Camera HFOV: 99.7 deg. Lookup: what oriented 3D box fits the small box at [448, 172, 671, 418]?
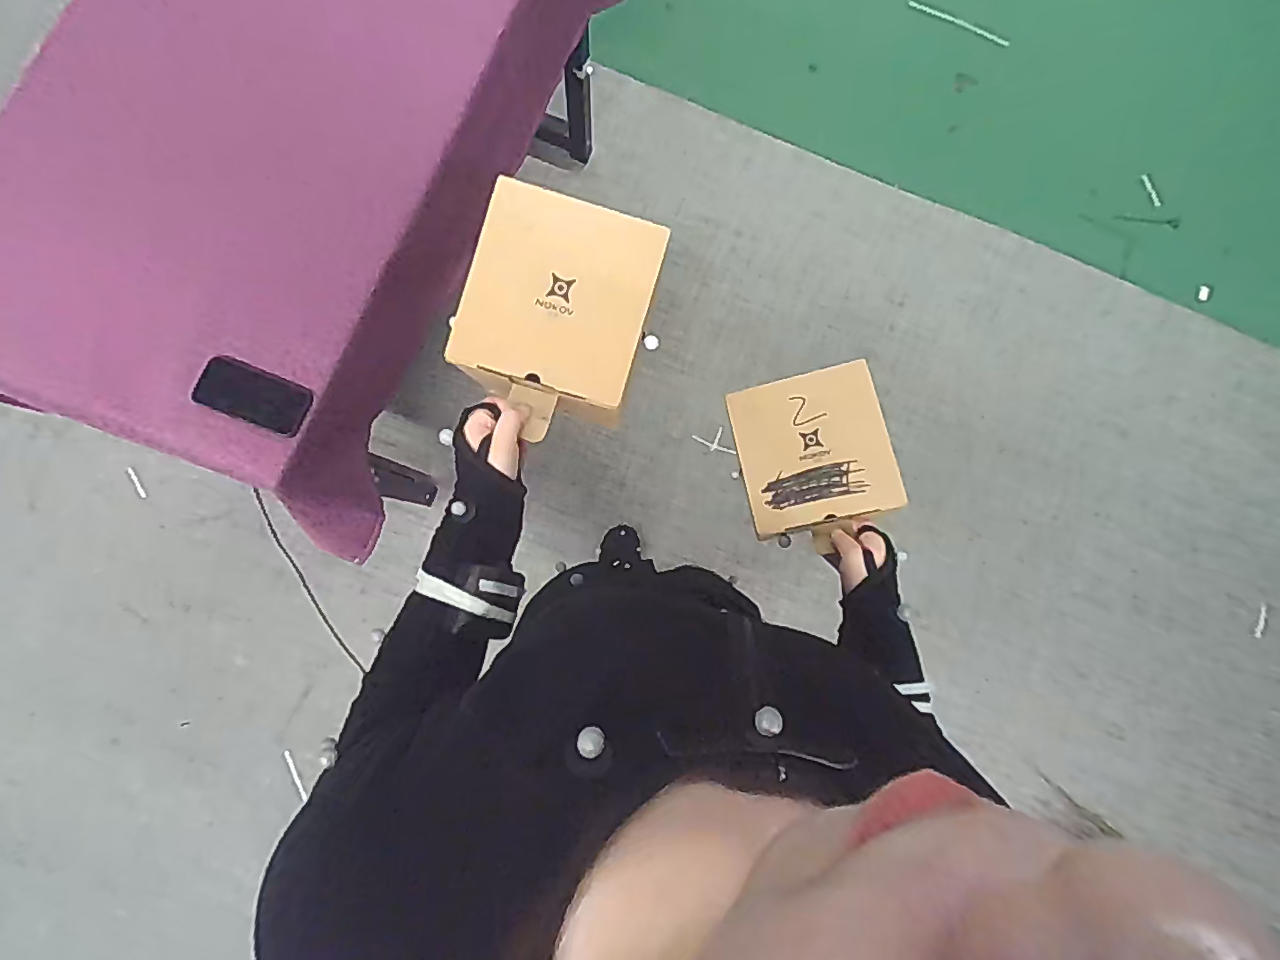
[{"bbox_3d":[-0.078,-0.177,0.576,0.168,0.176,0.179,17,90,-2],"label":"small box"}]
